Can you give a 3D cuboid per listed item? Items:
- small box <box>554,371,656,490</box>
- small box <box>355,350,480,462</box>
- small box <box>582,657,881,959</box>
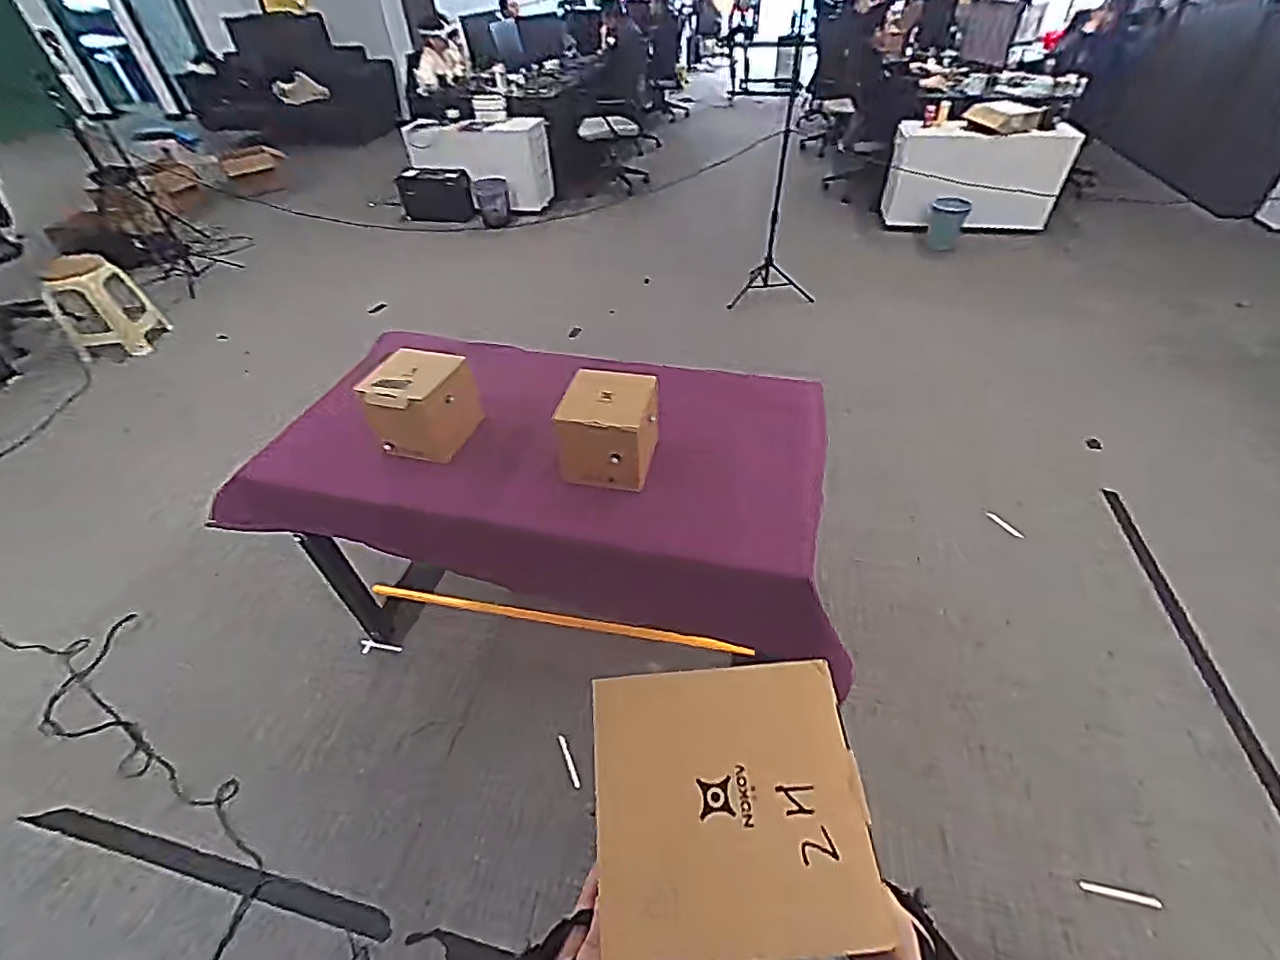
[{"bbox_3d":[-0.061,-0.099,1.103,0.168,0.176,0.179,8,45,10],"label":"small box"},{"bbox_3d":[-0.472,-0.160,1.185,0.168,0.176,0.179,10,45,13],"label":"small box"},{"bbox_3d":[0.052,0.249,0.422,0.179,0.176,0.168,-4,57,-2],"label":"small box"}]
